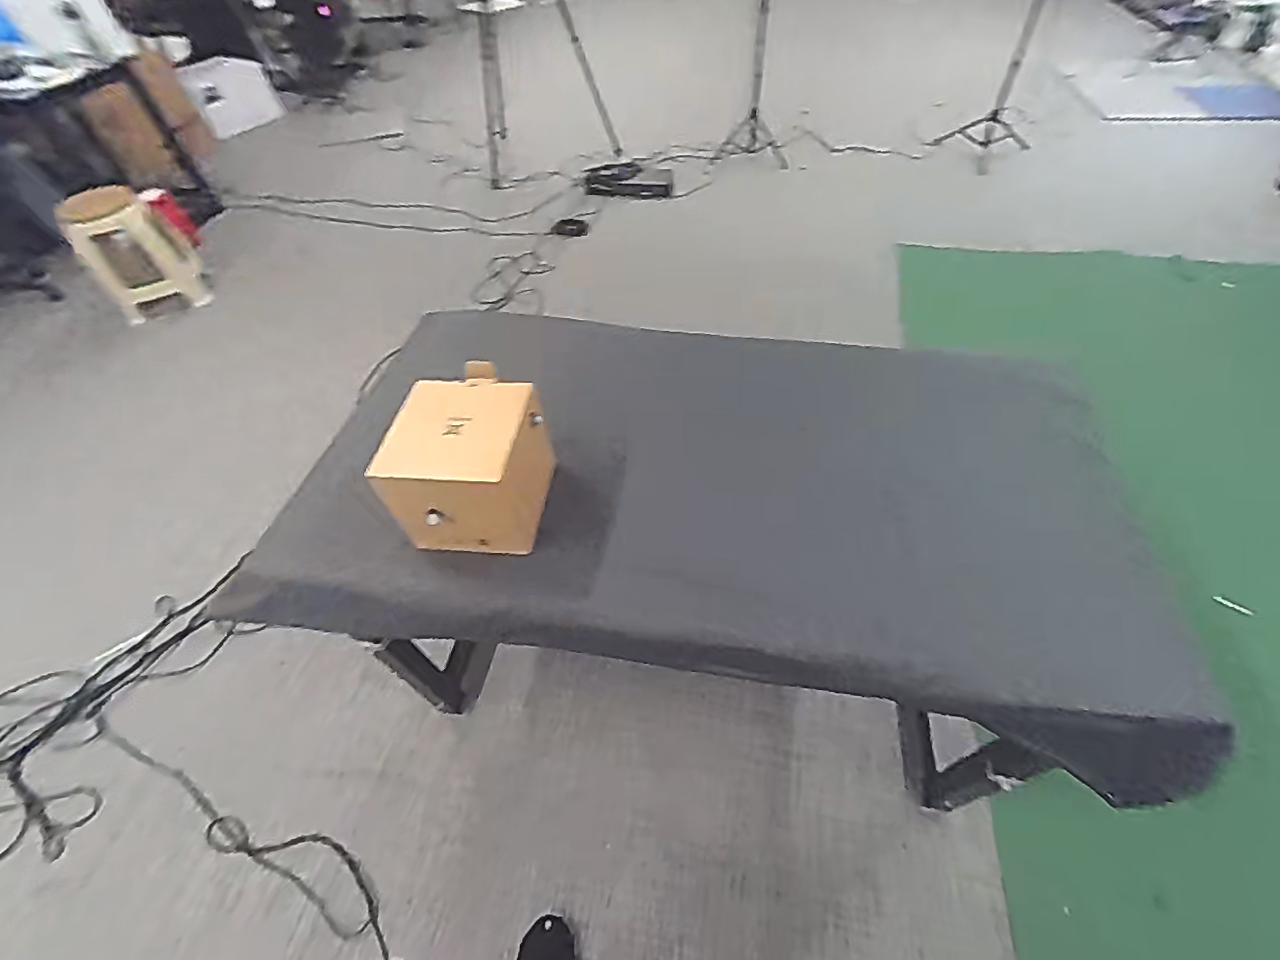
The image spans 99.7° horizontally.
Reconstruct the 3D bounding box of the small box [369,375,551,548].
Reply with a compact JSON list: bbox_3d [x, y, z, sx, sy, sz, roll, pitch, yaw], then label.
[{"bbox_3d":[-0.227,-0.023,0.743,0.168,0.176,0.179,3,51,6],"label":"small box"}]
